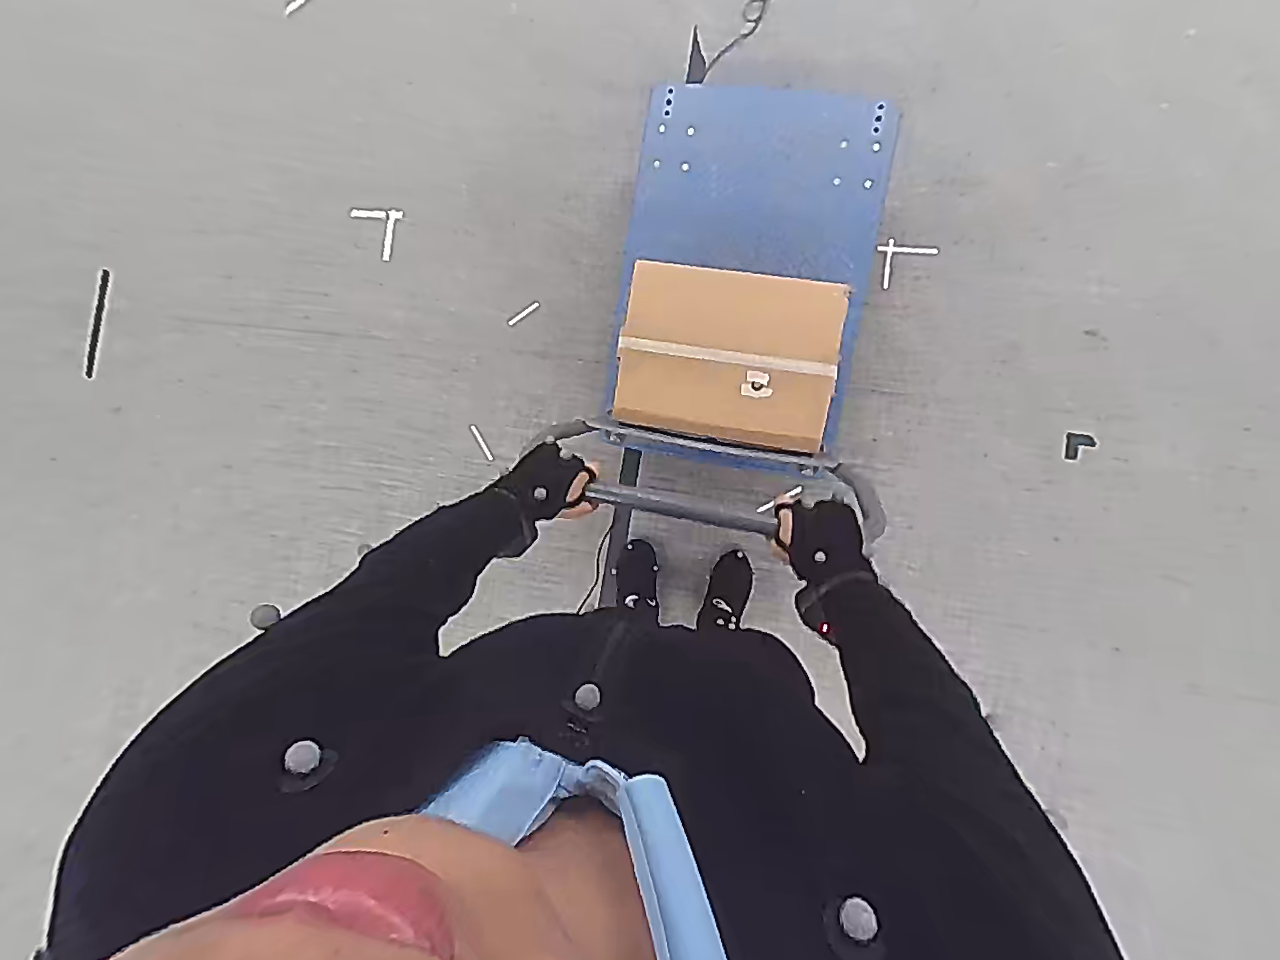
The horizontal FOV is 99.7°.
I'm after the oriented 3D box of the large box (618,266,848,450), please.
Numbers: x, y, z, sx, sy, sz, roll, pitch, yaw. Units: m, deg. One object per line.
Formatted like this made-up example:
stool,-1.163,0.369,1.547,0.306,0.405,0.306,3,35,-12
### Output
large box,0.189,-0.250,1.185,0.408,0.320,0.320,10,98,7
